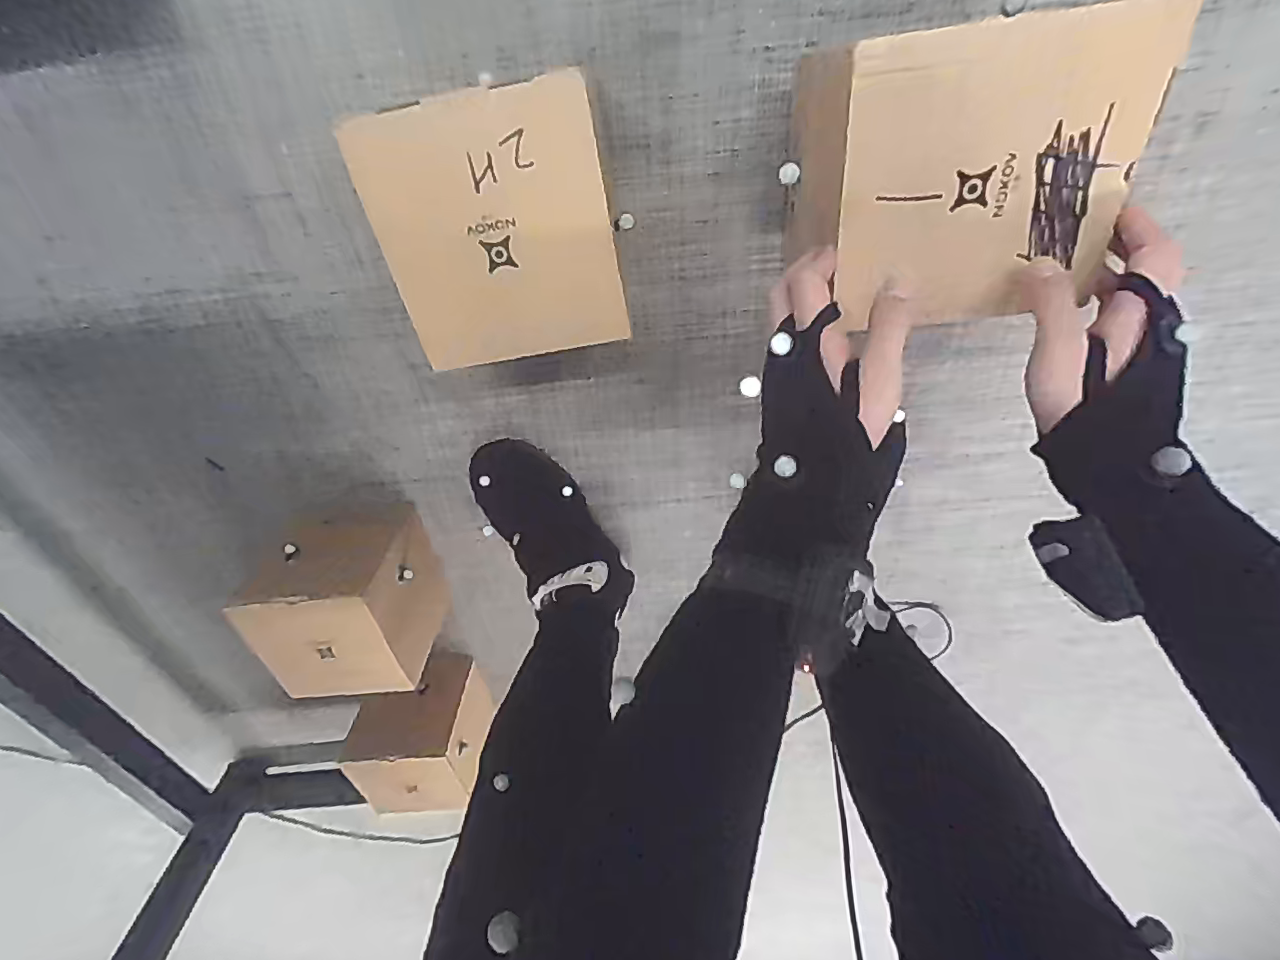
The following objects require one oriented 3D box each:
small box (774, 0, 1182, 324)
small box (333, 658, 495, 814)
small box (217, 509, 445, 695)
[{"bbox_3d":[0.202,-0.229,0.392,0.179,0.176,0.168,-3,126,6],"label":"small box"},{"bbox_3d":[-0.351,0.416,0.884,0.168,0.176,0.179,-6,124,4],"label":"small box"},{"bbox_3d":[-0.375,0.149,0.699,0.168,0.176,0.179,-5,125,4],"label":"small box"}]
